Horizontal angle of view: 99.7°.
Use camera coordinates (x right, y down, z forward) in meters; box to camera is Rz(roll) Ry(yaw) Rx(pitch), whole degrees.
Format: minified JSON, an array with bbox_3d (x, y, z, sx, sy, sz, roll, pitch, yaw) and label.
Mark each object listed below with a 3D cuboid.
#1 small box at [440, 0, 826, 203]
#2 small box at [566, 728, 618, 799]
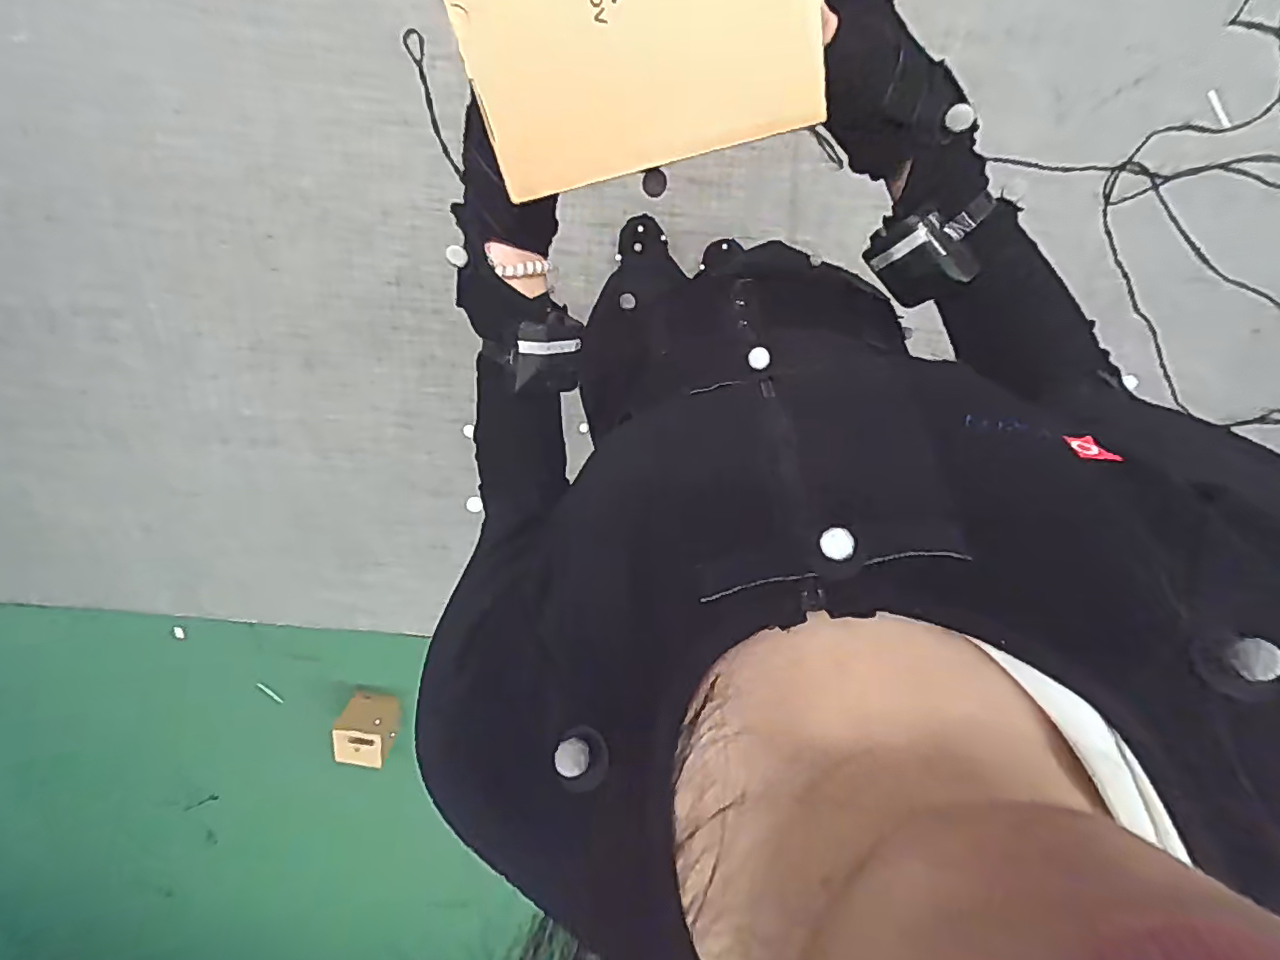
[{"bbox_3d":[0.000,-0.278,0.308,0.179,0.176,0.168,-6,124,14],"label":"small box"},{"bbox_3d":[-0.174,1.041,1.995,0.179,0.176,0.168,2,116,-1],"label":"small box"}]
